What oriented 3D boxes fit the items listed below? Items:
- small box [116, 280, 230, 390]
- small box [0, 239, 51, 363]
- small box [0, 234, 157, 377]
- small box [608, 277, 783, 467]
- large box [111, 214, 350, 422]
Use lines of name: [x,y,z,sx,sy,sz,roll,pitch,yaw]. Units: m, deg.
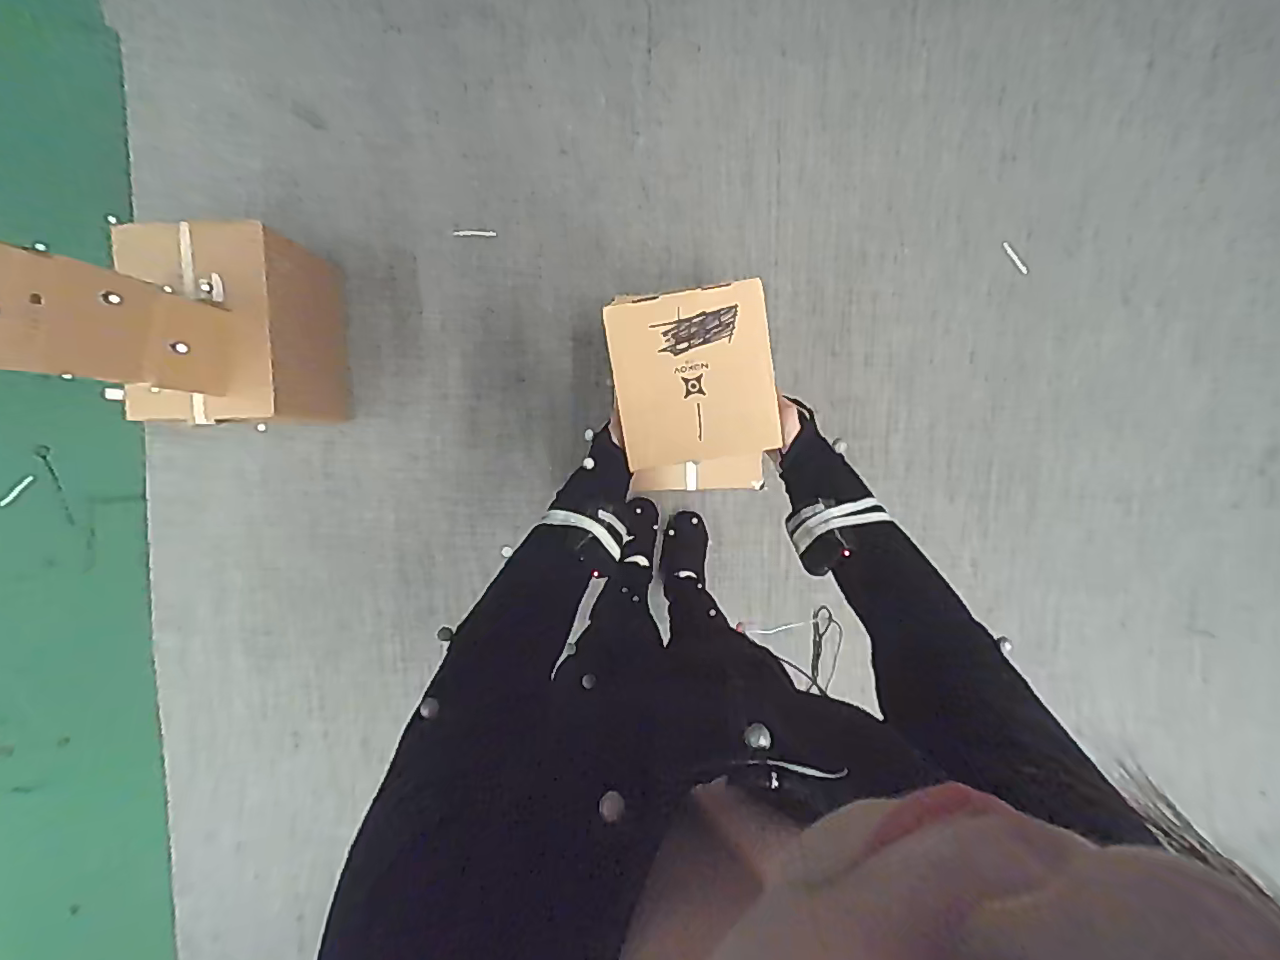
small box: [-0.922,-0.276,1.022,0.168,0.176,0.179,10,95,-1]
small box: [-0.935,-0.255,0.696,0.179,0.176,0.168,14,94,-1]
small box: [-0.926,-0.272,0.859,0.168,0.176,0.179,13,95,0]
small box: [0.061,-0.120,0.635,0.168,0.176,0.179,-8,99,4]
large box: [-0.918,-0.346,1.260,0.320,0.320,0.408,-1,94,-1]
